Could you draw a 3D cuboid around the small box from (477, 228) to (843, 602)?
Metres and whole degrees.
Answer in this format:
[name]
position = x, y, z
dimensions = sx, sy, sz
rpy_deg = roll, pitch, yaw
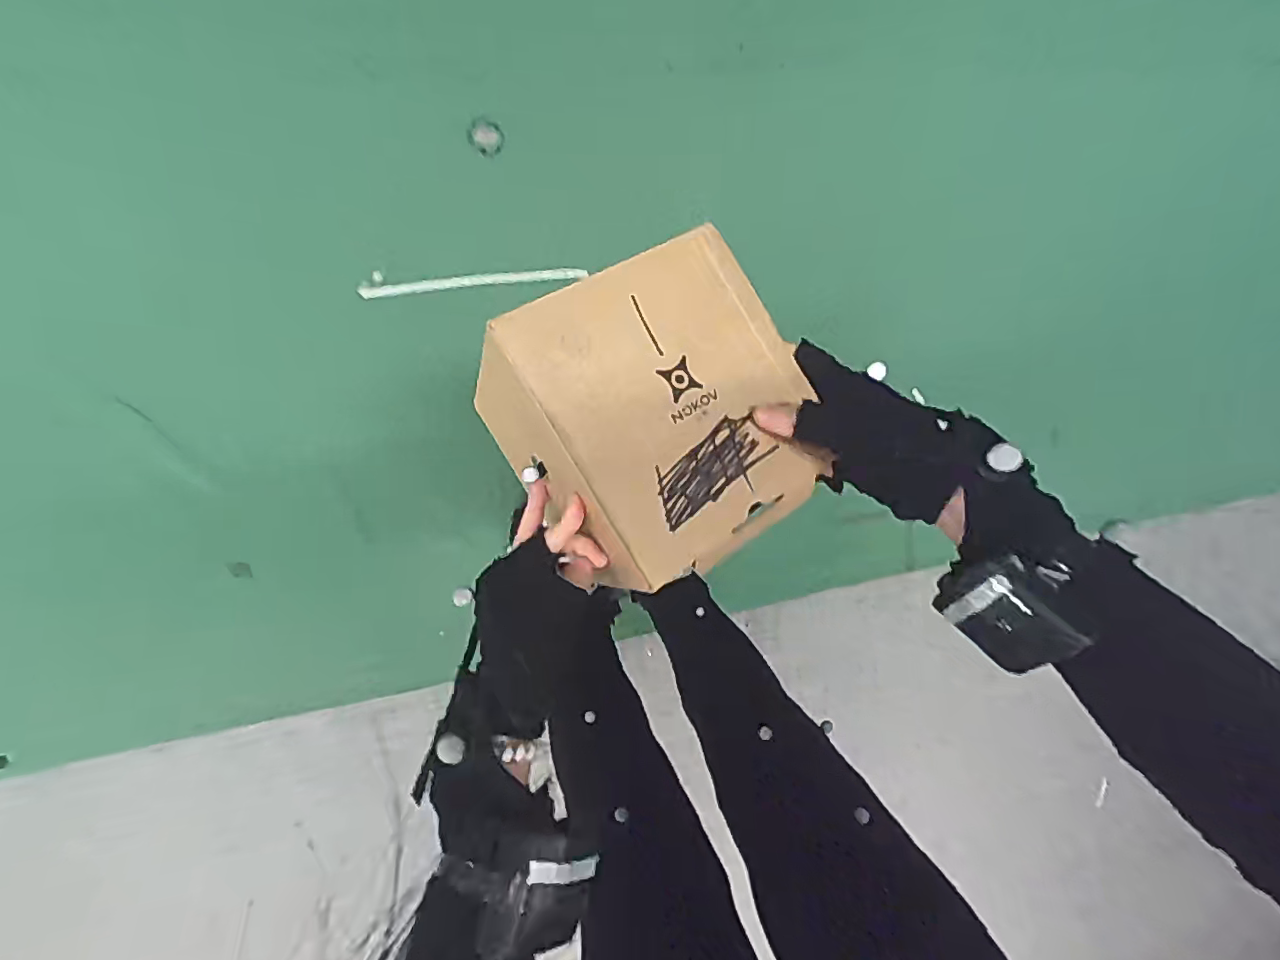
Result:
[small box]
position = -0.001, -0.035, 0.390
dimensions = 0.168, 0.176, 0.179
rpy_deg = -32, 93, -21
